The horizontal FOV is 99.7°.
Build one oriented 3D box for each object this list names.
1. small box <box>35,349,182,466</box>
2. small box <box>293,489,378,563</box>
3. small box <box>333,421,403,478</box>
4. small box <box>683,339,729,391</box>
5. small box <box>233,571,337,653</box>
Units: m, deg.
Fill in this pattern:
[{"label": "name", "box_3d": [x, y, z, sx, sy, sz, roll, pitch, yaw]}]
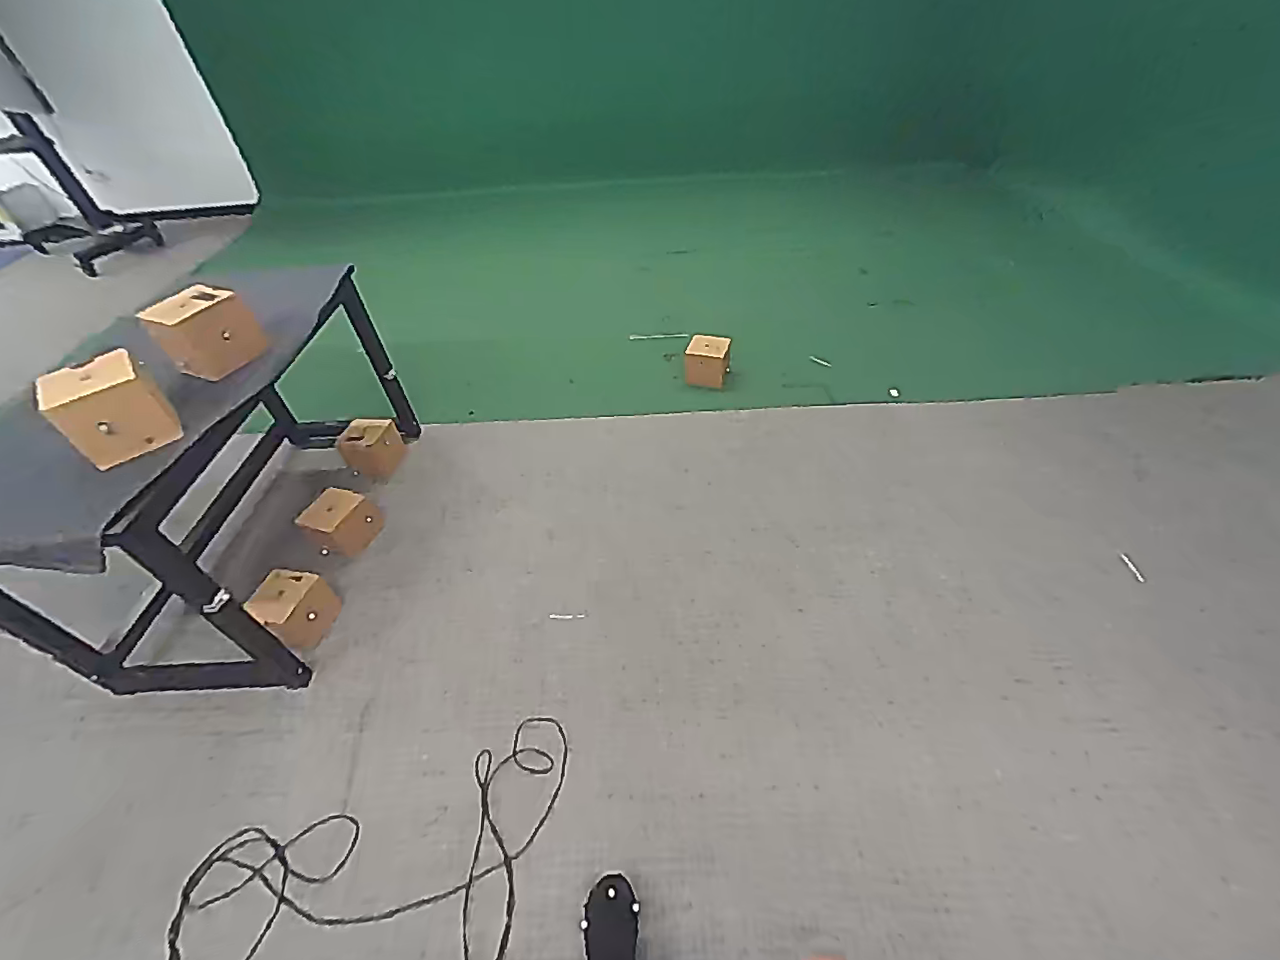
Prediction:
[{"label": "small box", "box_3d": [-1.160, -0.154, 1.190, 0.168, 0.176, 0.179, -34, 52, -27]}, {"label": "small box", "box_3d": [-1.056, 0.162, 1.898, 0.168, 0.176, 0.179, 12, 48, 17]}, {"label": "small box", "box_3d": [-1.092, -0.122, 2.187, 0.168, 0.176, 0.179, 2, 44, 6]}, {"label": "small box", "box_3d": [0.304, -0.527, 2.483, 0.179, 0.176, 0.168, 12, 47, 16]}, {"label": "small box", "box_3d": [-1.070, 0.407, 1.652, 0.168, 0.176, 0.179, 7, 46, 11]}]
